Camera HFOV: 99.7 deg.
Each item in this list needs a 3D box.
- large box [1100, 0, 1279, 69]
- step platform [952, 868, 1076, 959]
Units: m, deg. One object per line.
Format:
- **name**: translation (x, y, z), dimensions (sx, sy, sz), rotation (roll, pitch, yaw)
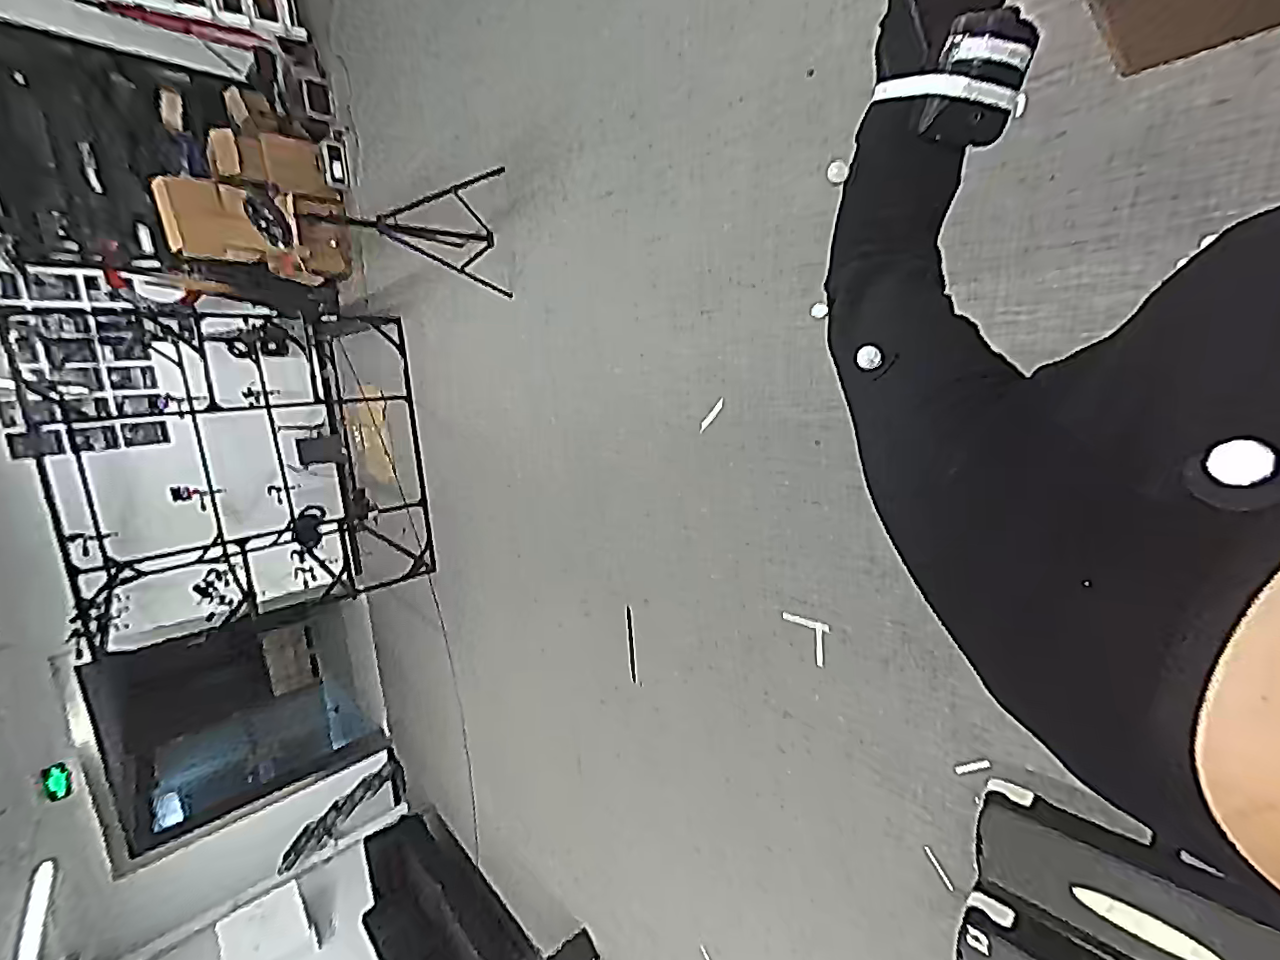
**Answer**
- **large box**: translation (0.469, -0.481, 0.239), dimensions (0.408, 0.320, 0.320), rotation (6, 109, 45)
- **step platform**: translation (1.121, 1.268, 1.260), dimensions (0.684, 0.204, 0.286), rotation (6, 105, 49)
